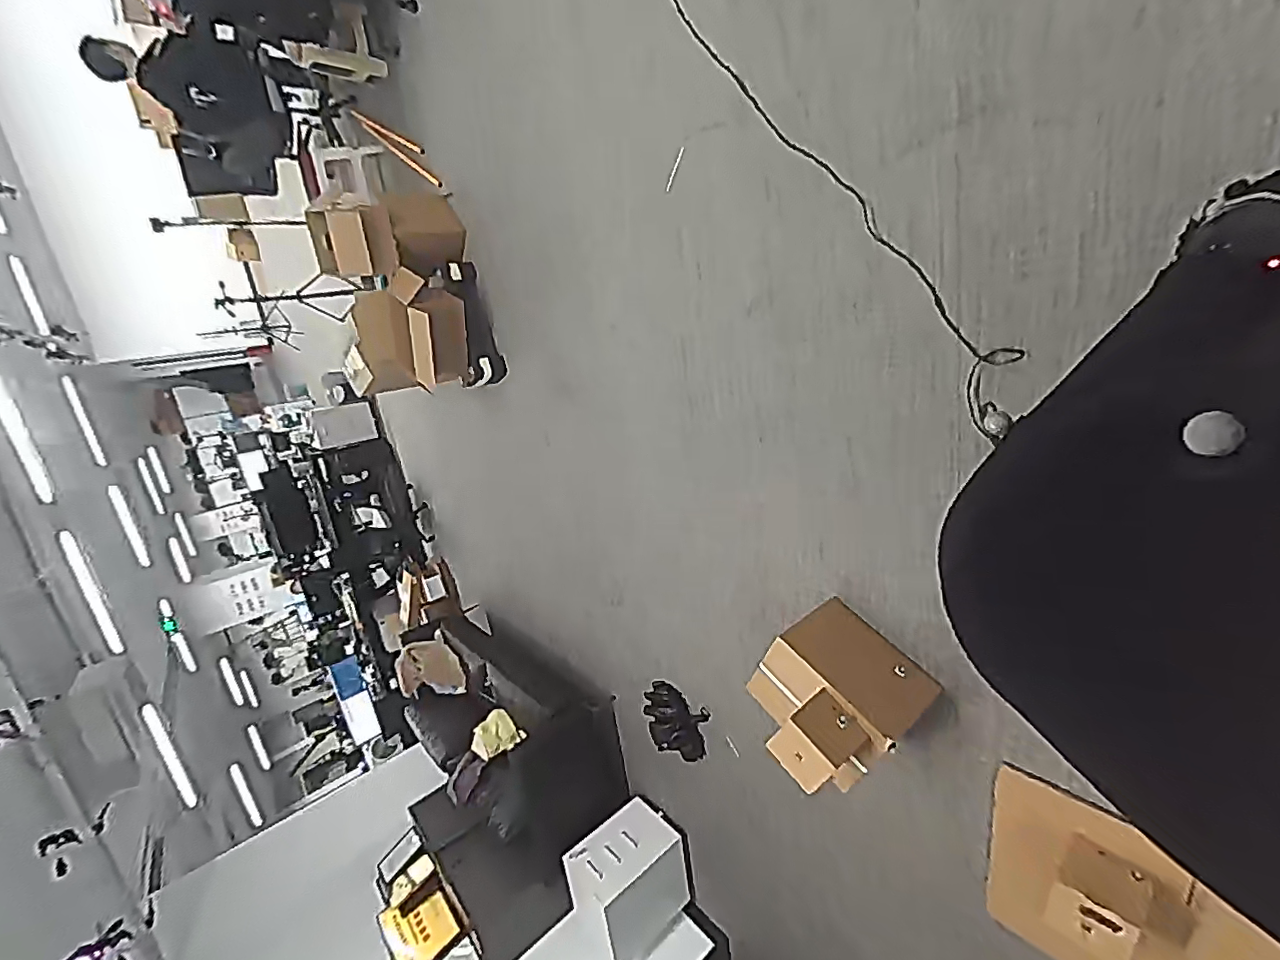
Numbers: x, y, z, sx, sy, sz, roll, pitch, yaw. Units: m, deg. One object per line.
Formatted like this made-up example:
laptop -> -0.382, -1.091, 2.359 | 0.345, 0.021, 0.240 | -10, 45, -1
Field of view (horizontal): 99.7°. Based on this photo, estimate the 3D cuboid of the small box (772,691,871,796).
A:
small box -> 0.507, 0.729, 1.507 | 0.168, 0.176, 0.179 | 44, 135, 31

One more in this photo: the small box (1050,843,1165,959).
small box -> 1.138, 1.043, 1.315 | 0.168, 0.176, 0.179 | 20, 123, 47
